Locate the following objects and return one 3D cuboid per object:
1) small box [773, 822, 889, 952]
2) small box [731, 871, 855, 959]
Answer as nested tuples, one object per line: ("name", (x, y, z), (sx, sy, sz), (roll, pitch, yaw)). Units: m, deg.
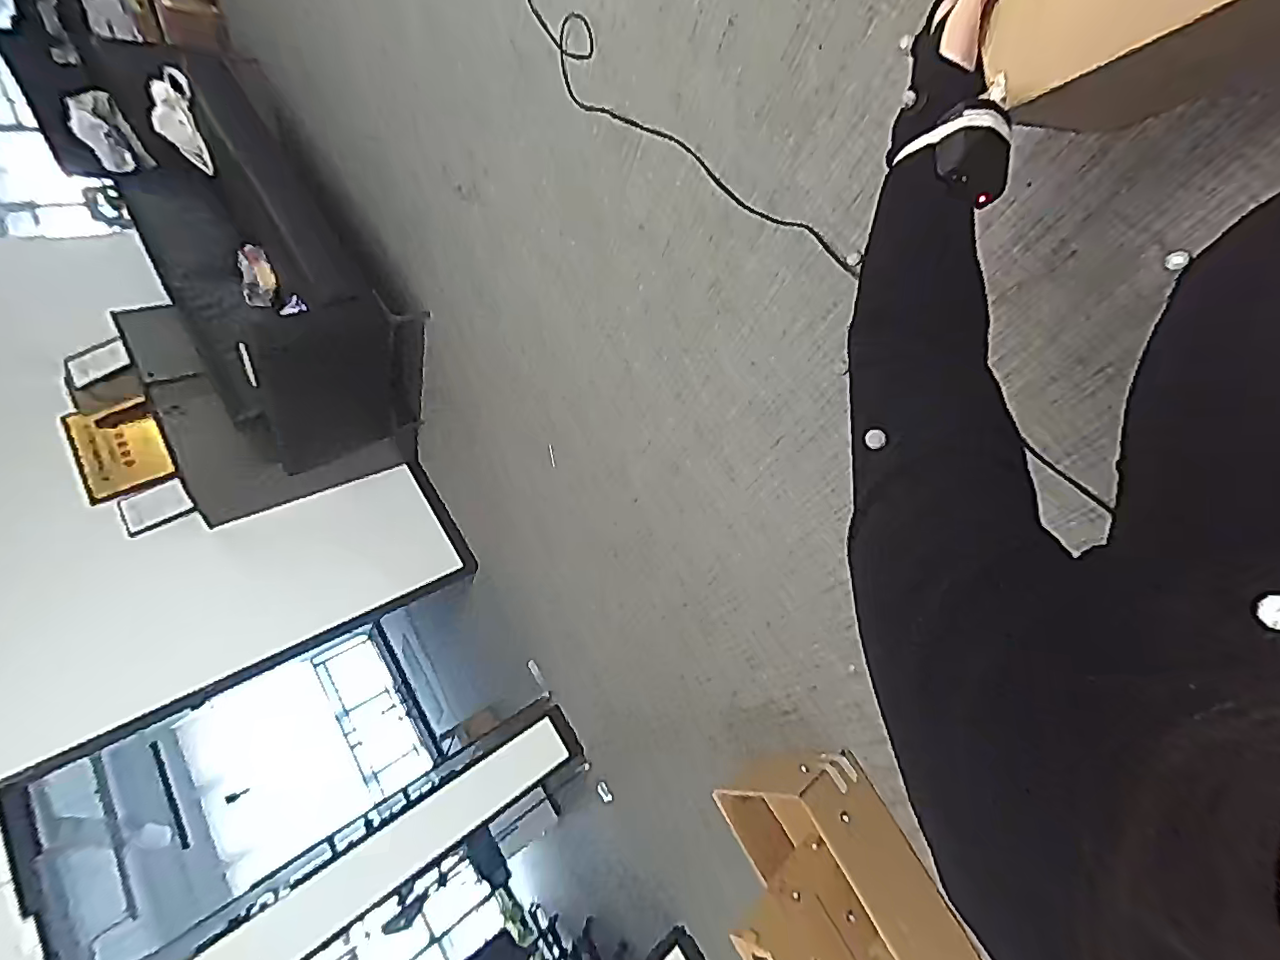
("small box", (0.472, 0.988, 1.331), (0.179, 0.176, 0.168), (58, 145, 11))
("small box", (0.350, 1.047, 1.238), (0.179, 0.176, 0.168), (57, 145, 8))
